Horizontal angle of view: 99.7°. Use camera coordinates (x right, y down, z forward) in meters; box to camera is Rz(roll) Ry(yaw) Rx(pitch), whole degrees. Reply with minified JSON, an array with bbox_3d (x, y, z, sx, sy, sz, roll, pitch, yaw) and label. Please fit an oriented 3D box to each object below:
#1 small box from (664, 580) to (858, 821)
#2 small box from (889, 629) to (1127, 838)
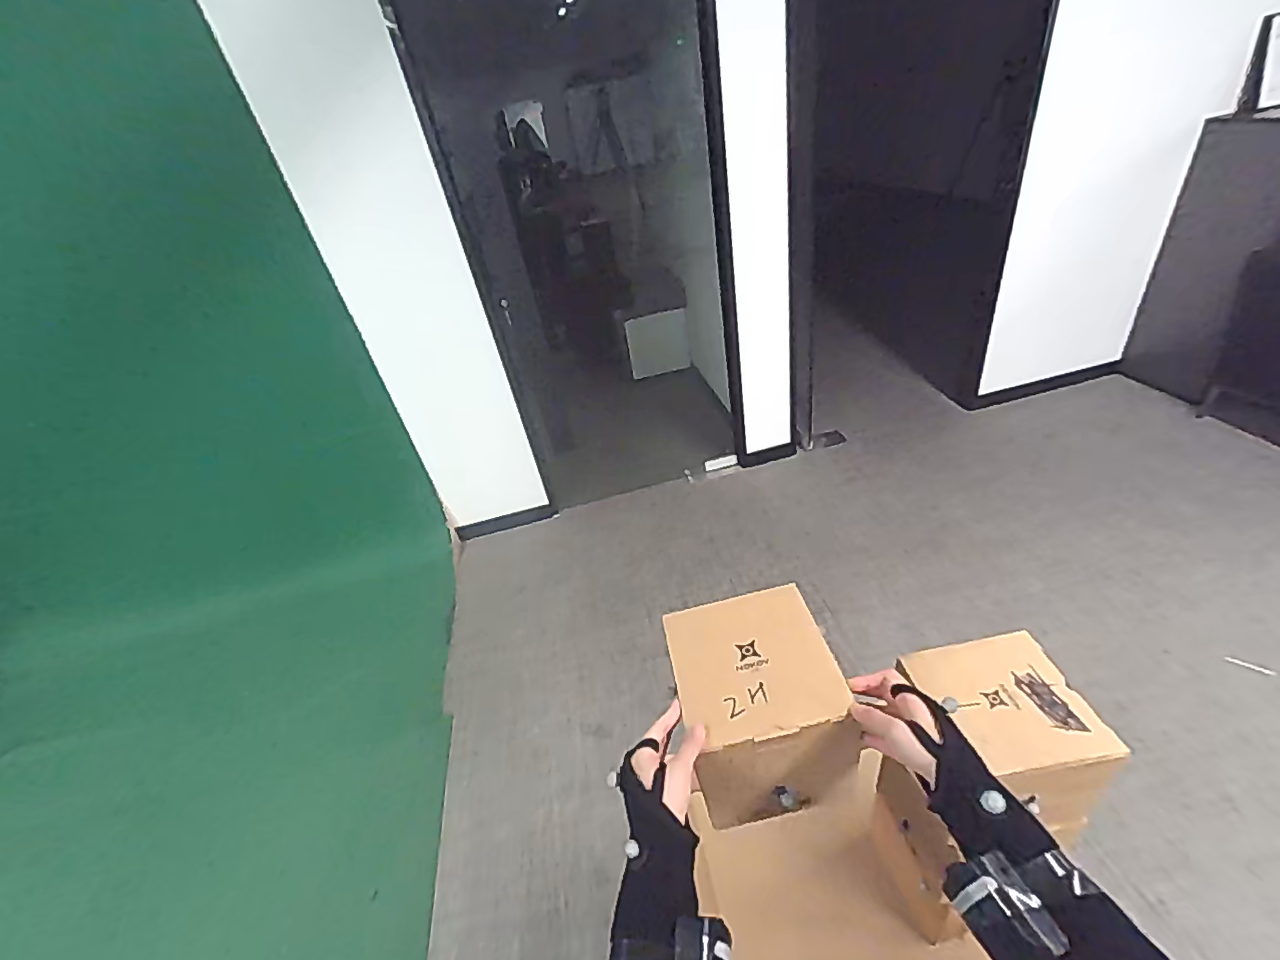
[{"bbox_3d":[0.130,0.248,0.617,0.168,0.176,0.179,-14,35,1],"label":"small box"},{"bbox_3d":[0.441,0.320,0.686,0.179,0.176,0.168,-12,35,1],"label":"small box"}]
